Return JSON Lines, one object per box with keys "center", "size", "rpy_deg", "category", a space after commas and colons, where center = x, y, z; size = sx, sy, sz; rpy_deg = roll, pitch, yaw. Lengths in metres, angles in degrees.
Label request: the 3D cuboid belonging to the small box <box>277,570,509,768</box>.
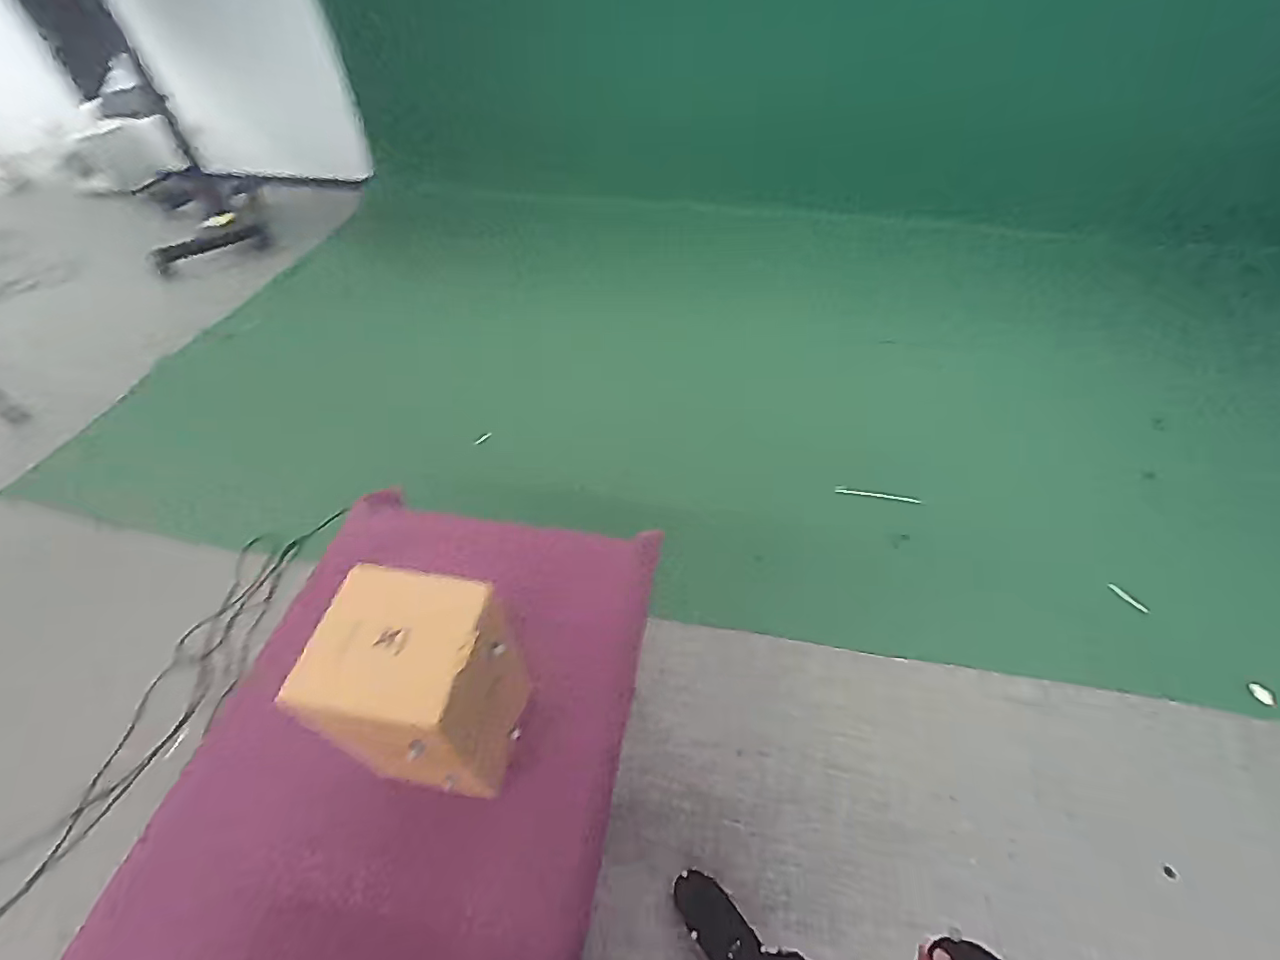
{"center": [-0.275, 0.233, 0.657], "size": [0.179, 0.176, 0.168], "rpy_deg": [6, 49, 7], "category": "small box"}
